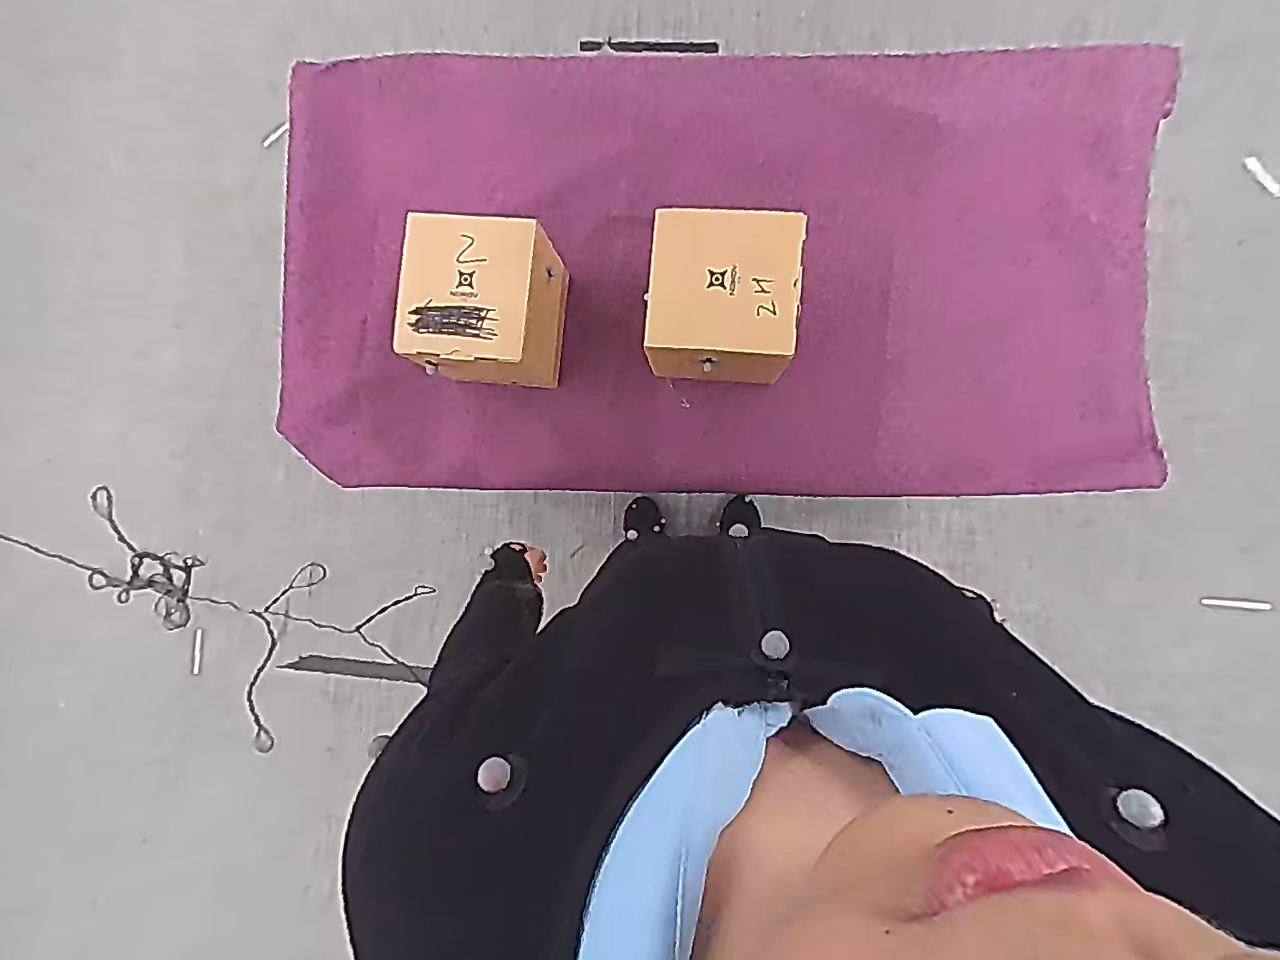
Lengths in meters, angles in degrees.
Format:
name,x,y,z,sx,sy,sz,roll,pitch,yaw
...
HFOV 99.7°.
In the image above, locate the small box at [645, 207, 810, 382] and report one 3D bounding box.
name,x,y,z,sx,sy,sz,roll,pitch,yaw
small box,0.108,-0.227,0.699,0.179,0.176,0.168,6,90,6
